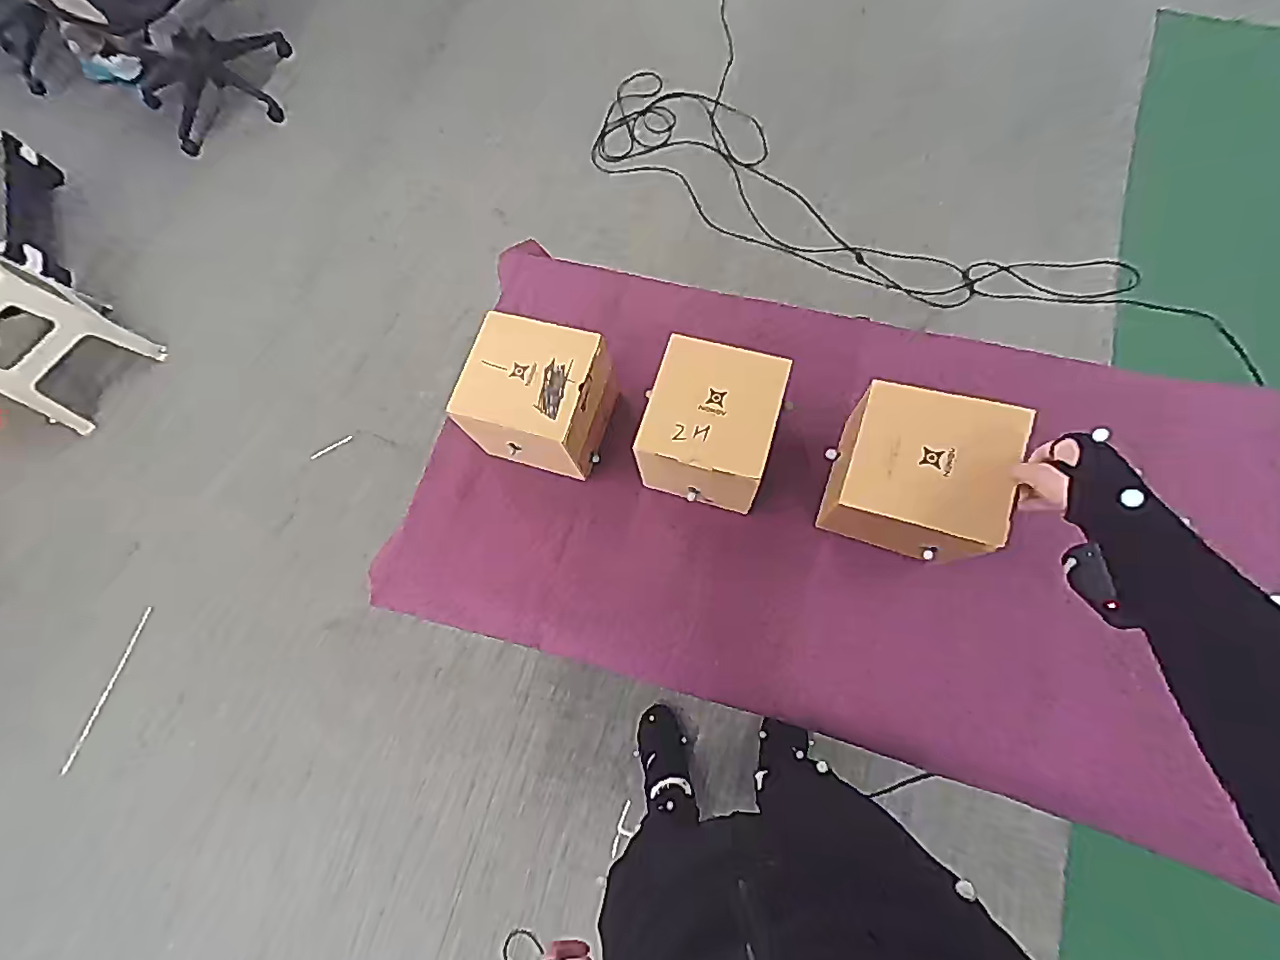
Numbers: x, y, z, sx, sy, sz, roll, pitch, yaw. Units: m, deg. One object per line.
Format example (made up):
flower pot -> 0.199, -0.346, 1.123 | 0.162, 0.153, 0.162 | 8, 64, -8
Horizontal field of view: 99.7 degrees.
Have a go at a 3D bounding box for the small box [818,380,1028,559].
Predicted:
small box -> 0.349, -0.003, 0.699 | 0.179, 0.176, 0.168 | 18, 79, 13

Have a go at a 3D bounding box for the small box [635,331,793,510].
small box -> 0.102, -0.075, 0.763 | 0.168, 0.176, 0.179 | 16, 76, 10

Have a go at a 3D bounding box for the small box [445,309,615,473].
small box -> -0.147, -0.121, 0.801 | 0.179, 0.176, 0.168 | 15, 75, 11
